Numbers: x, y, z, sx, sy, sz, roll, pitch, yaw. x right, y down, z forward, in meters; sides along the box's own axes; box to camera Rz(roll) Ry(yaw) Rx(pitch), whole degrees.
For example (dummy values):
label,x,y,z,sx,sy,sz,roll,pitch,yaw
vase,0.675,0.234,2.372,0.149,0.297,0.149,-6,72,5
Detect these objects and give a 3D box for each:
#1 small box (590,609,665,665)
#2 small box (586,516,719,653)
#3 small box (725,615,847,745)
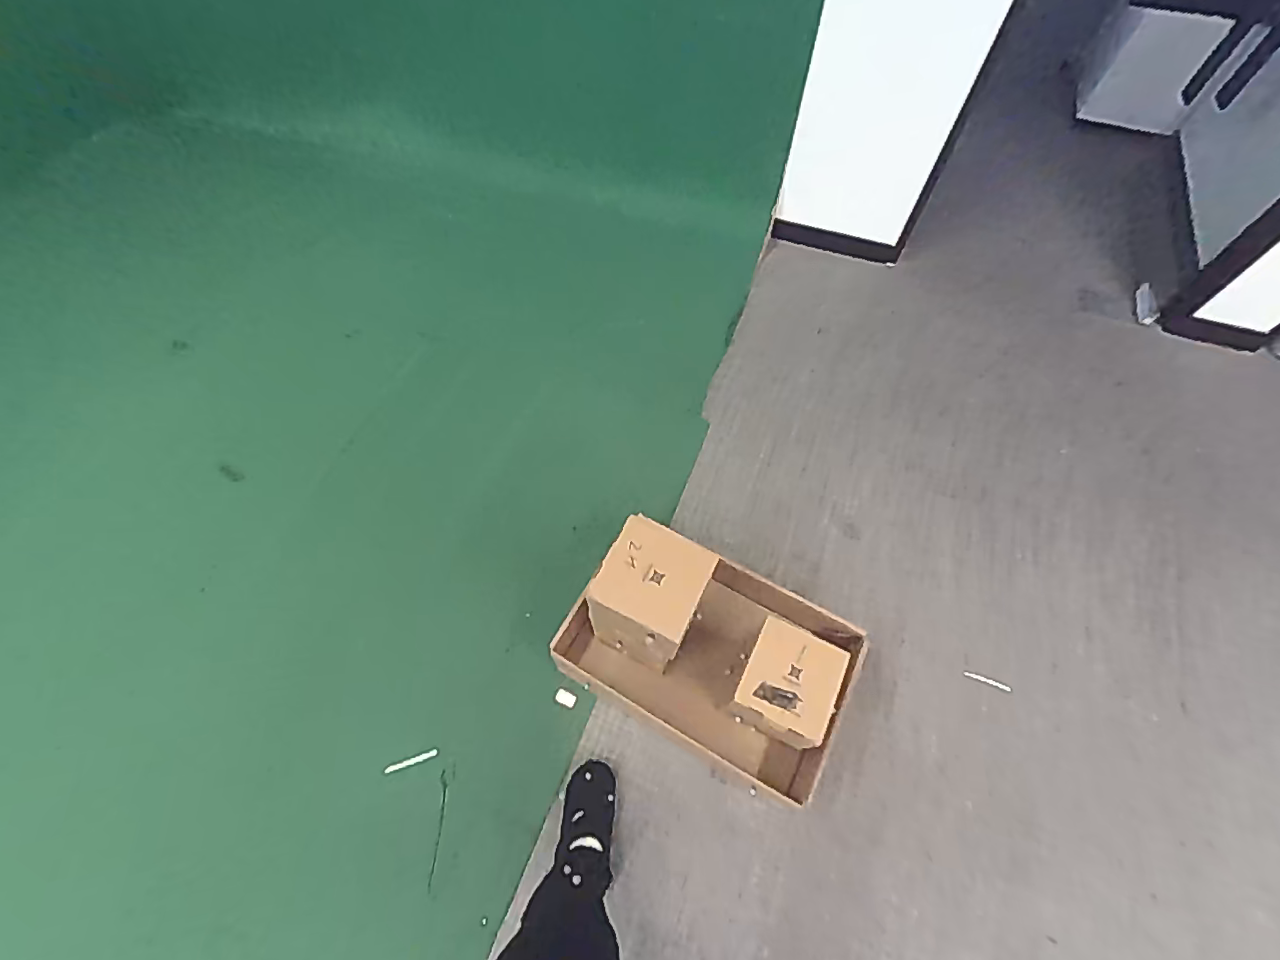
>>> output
label,x,y,z,sx,sy,sz,roll,pitch,yaw
small box,0.011,0.263,1.134,0.168,0.176,0.179,27,67,12
small box,0.022,0.197,0.983,0.179,0.176,0.168,26,66,12
small box,0.276,0.397,1.059,0.168,0.176,0.179,25,65,13
